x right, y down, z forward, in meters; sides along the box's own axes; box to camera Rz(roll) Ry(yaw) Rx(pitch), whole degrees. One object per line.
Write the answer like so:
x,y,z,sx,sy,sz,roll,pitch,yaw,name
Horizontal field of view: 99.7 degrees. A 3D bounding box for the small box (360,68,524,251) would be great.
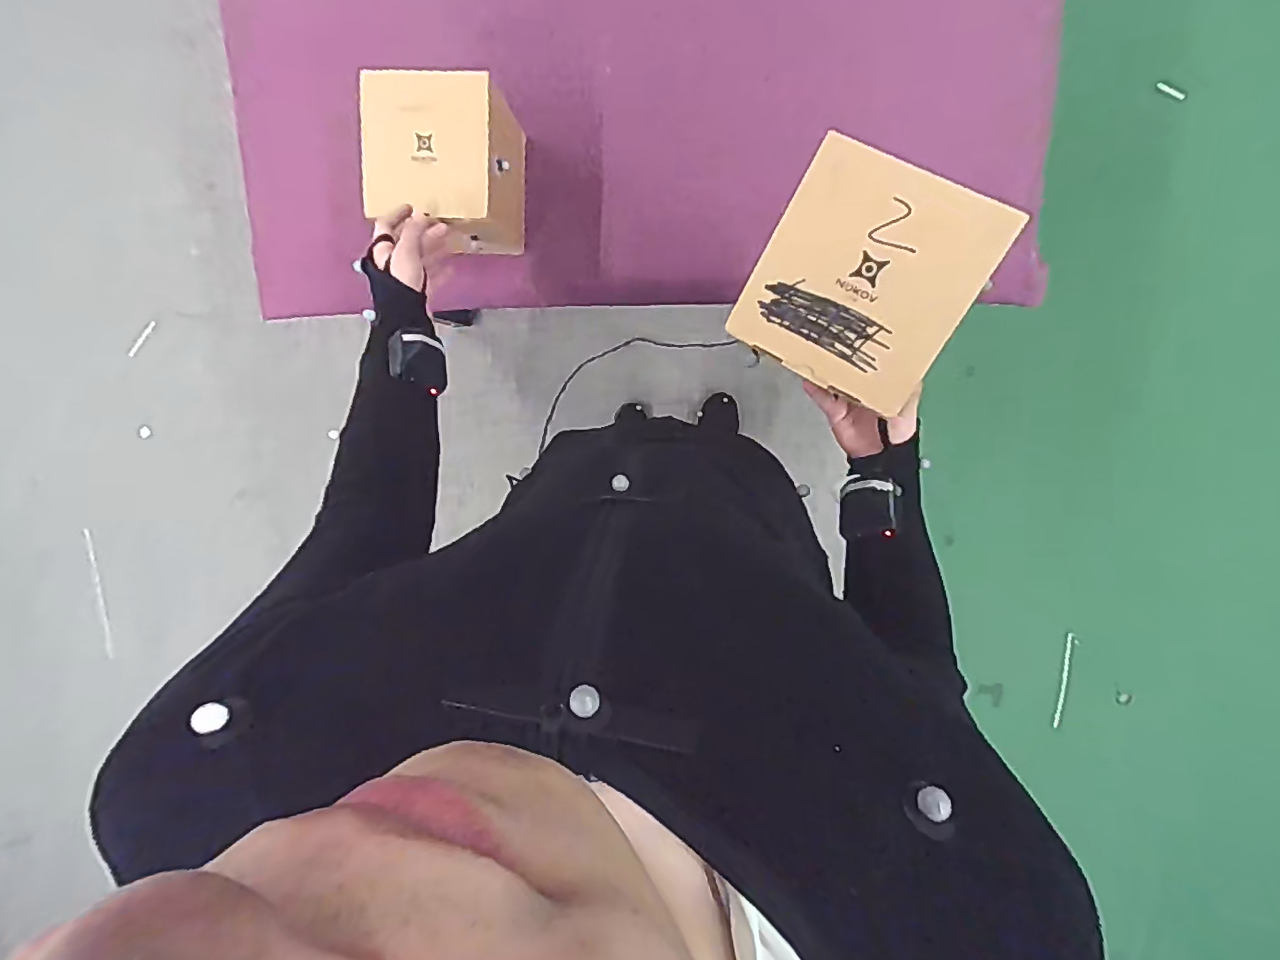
-0.265,-0.432,0.757,0.168,0.176,0.179,4,98,3,small box
